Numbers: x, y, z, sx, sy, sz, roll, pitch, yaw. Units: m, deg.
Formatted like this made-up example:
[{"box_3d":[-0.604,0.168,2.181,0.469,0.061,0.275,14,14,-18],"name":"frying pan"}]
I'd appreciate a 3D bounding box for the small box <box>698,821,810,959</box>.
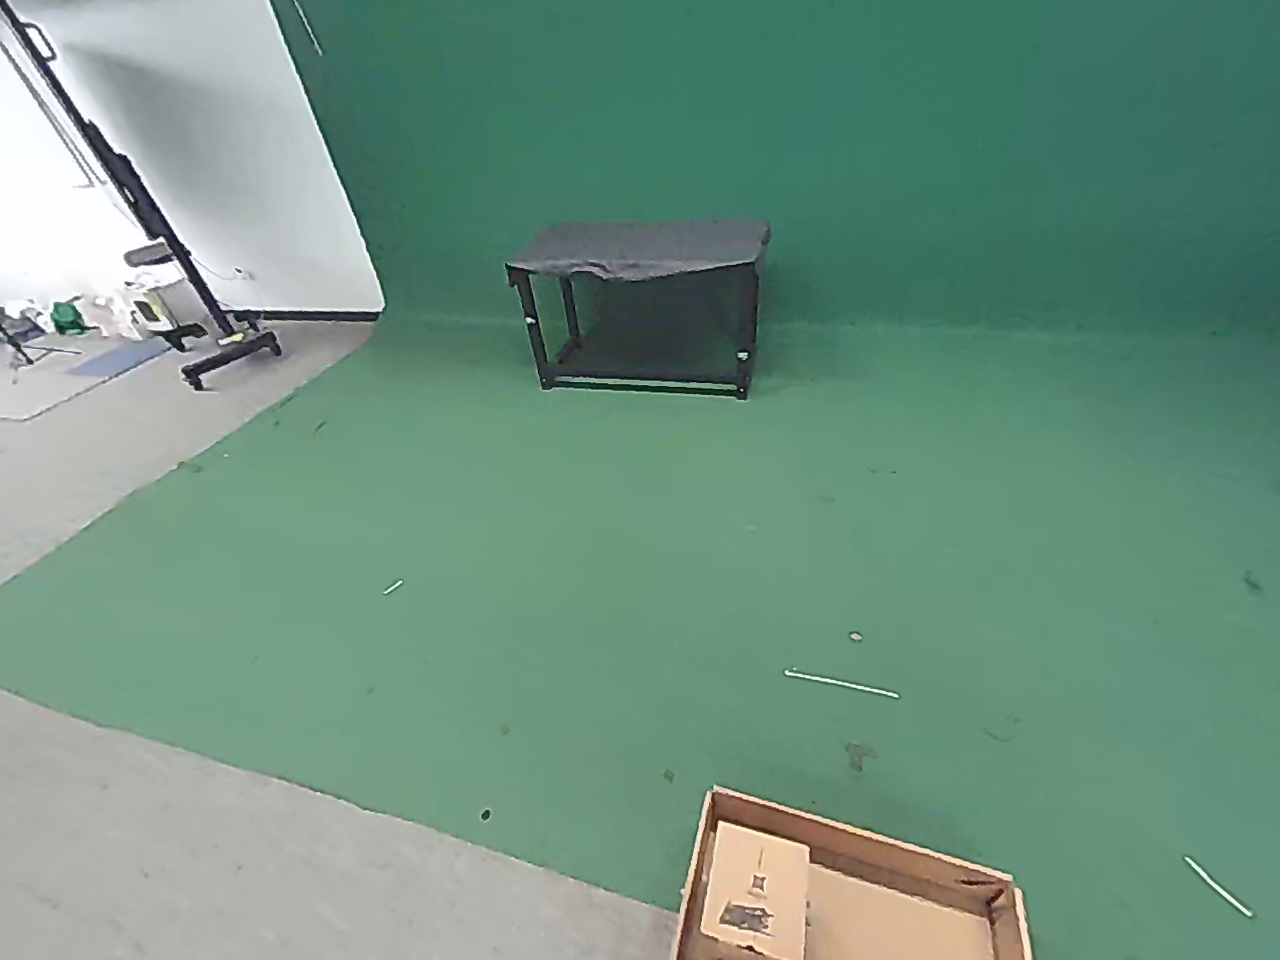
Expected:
[{"box_3d":[0.204,0.756,0.965,0.168,0.176,0.179,8,41,16],"name":"small box"}]
